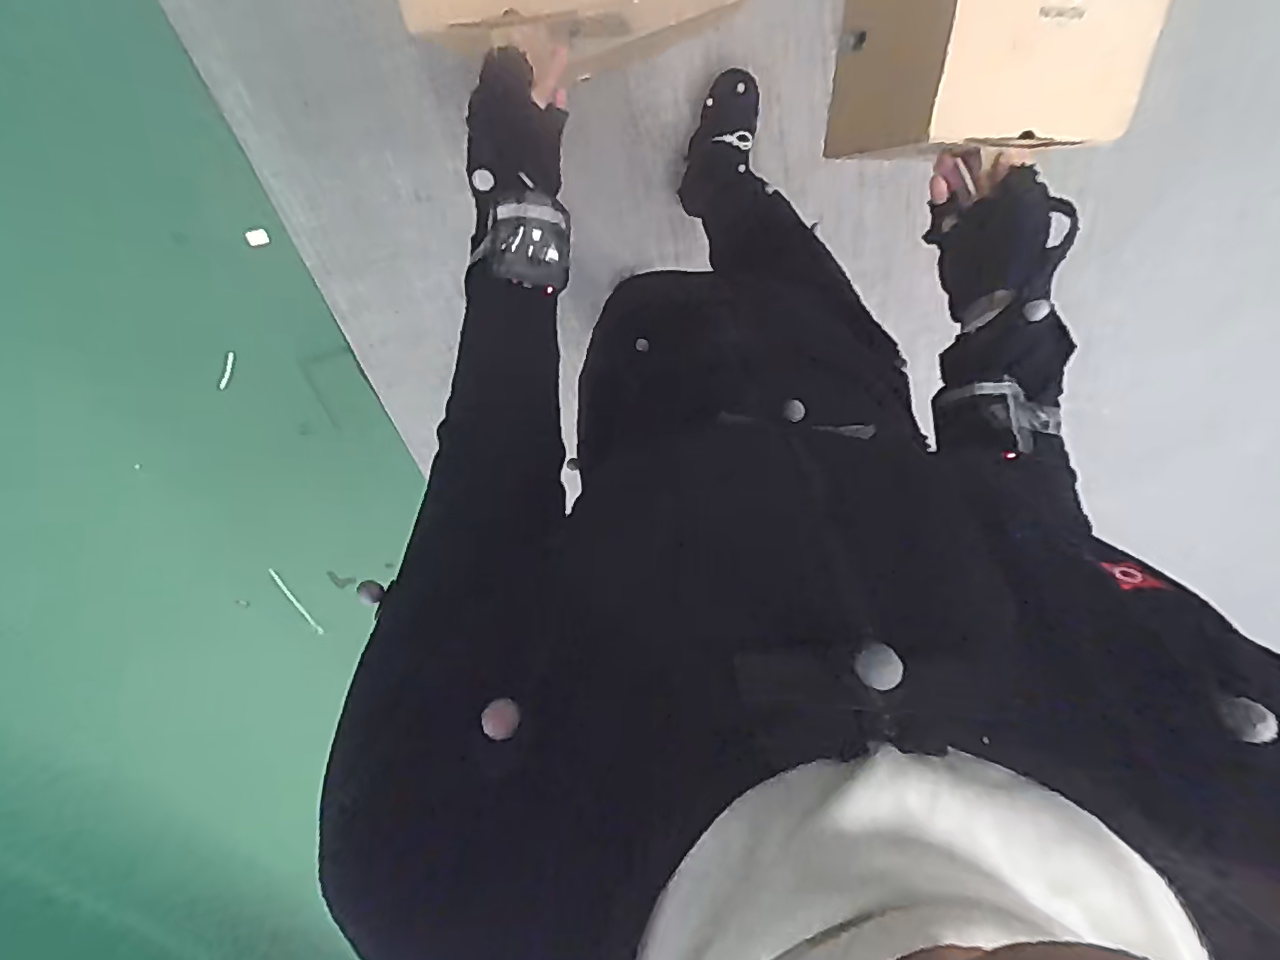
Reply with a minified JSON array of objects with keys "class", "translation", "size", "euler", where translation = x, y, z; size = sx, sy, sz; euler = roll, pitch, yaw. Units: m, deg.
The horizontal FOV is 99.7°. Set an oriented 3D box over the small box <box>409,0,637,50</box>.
[{"class":"small box","translation":[-0.095,-0.465,0.434],"size":[0.168,0.176,0.179],"euler":[-3,124,6]}]
